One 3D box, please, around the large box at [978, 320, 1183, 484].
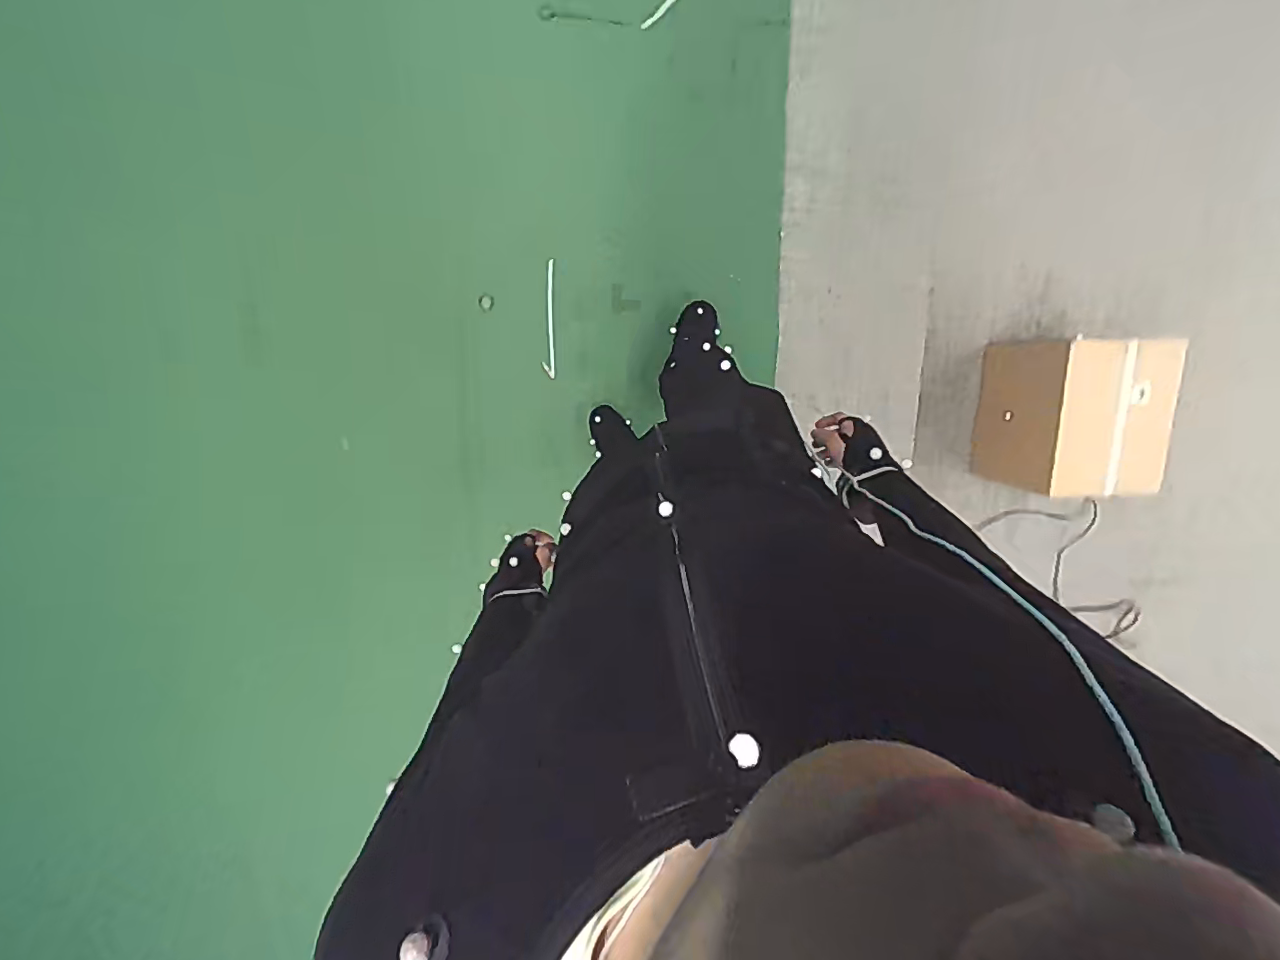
[{"bbox_3d":[1.204,-0.218,1.518,0.320,0.320,0.408,-3,100,-3],"label":"large box"}]
